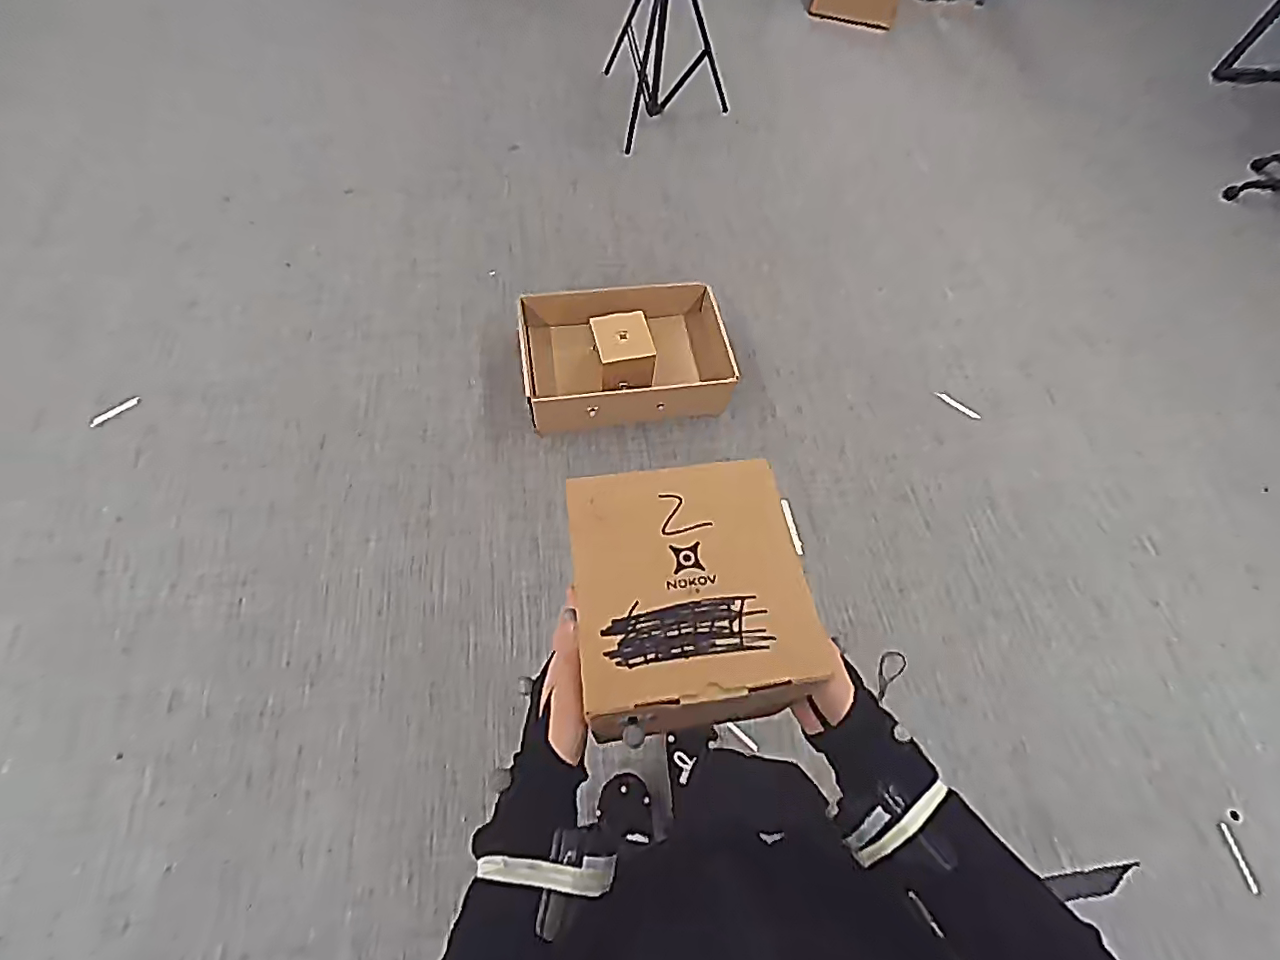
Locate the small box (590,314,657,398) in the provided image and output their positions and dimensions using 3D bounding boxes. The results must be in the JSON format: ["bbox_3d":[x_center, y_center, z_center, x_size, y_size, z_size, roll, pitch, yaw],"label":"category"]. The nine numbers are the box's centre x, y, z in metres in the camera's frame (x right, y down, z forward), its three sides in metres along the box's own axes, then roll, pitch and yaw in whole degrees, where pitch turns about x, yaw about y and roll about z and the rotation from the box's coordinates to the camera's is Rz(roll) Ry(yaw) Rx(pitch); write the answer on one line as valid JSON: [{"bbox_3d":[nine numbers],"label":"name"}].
[{"bbox_3d":[-0.057,-0.378,1.657,0.168,0.176,0.179,-12,66,-11],"label":"small box"}]
